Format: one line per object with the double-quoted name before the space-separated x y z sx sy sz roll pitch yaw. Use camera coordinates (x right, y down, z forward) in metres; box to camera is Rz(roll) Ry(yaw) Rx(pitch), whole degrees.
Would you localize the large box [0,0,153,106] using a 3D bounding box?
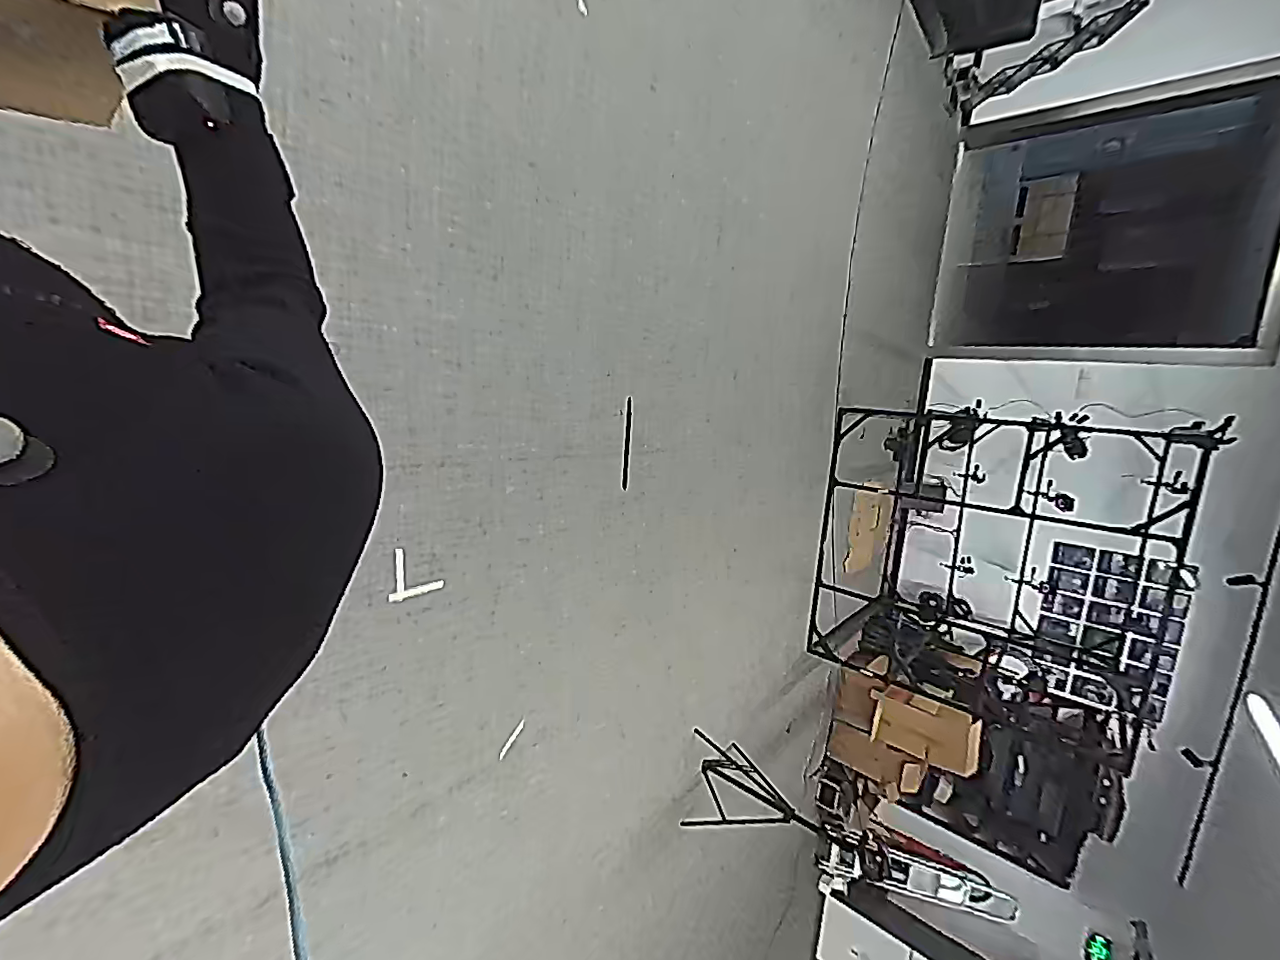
"large box" -0.581 -0.454 0.282 0.408 0.320 0.320 -19 116 -46
